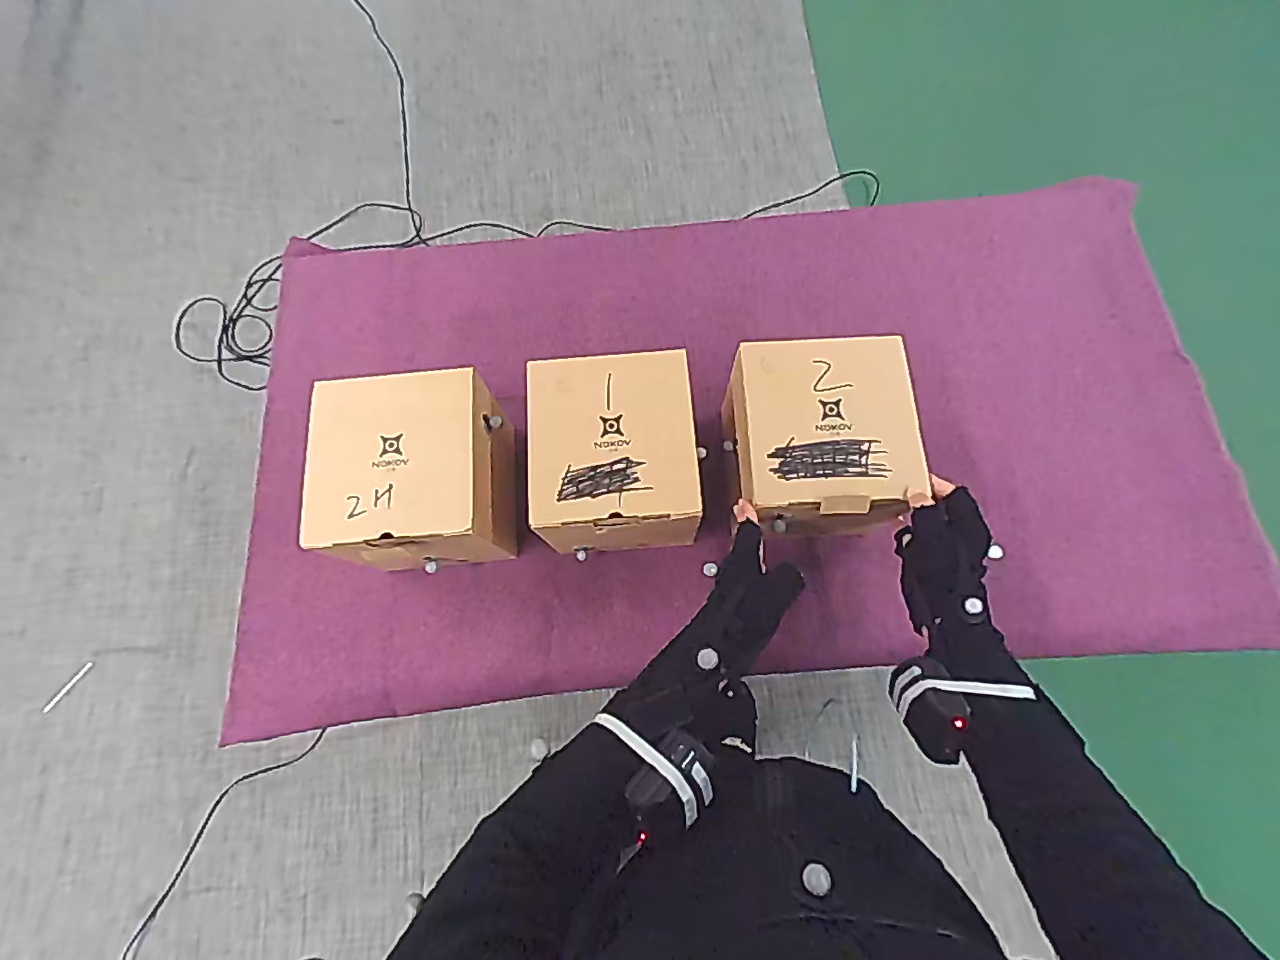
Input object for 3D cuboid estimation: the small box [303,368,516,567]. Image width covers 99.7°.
[{"bbox_3d":[-0.242,-0.005,0.612,0.168,0.176,0.179,-5,74,1],"label":"small box"}]
